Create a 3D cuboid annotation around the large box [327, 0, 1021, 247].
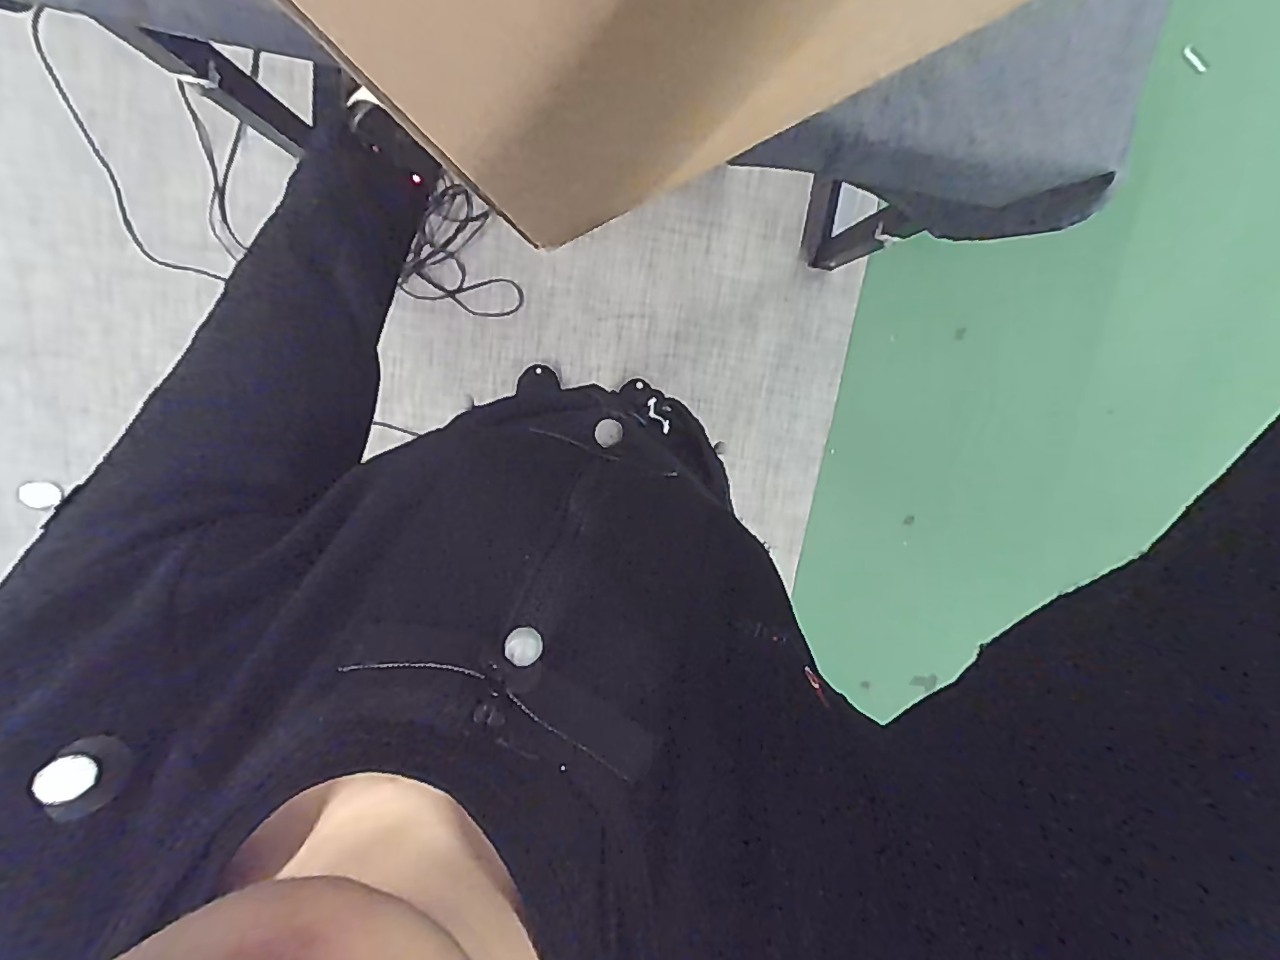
[{"bbox_3d":[0.035,-0.375,0.198,0.408,0.320,0.320,-21,75,19],"label":"large box"}]
